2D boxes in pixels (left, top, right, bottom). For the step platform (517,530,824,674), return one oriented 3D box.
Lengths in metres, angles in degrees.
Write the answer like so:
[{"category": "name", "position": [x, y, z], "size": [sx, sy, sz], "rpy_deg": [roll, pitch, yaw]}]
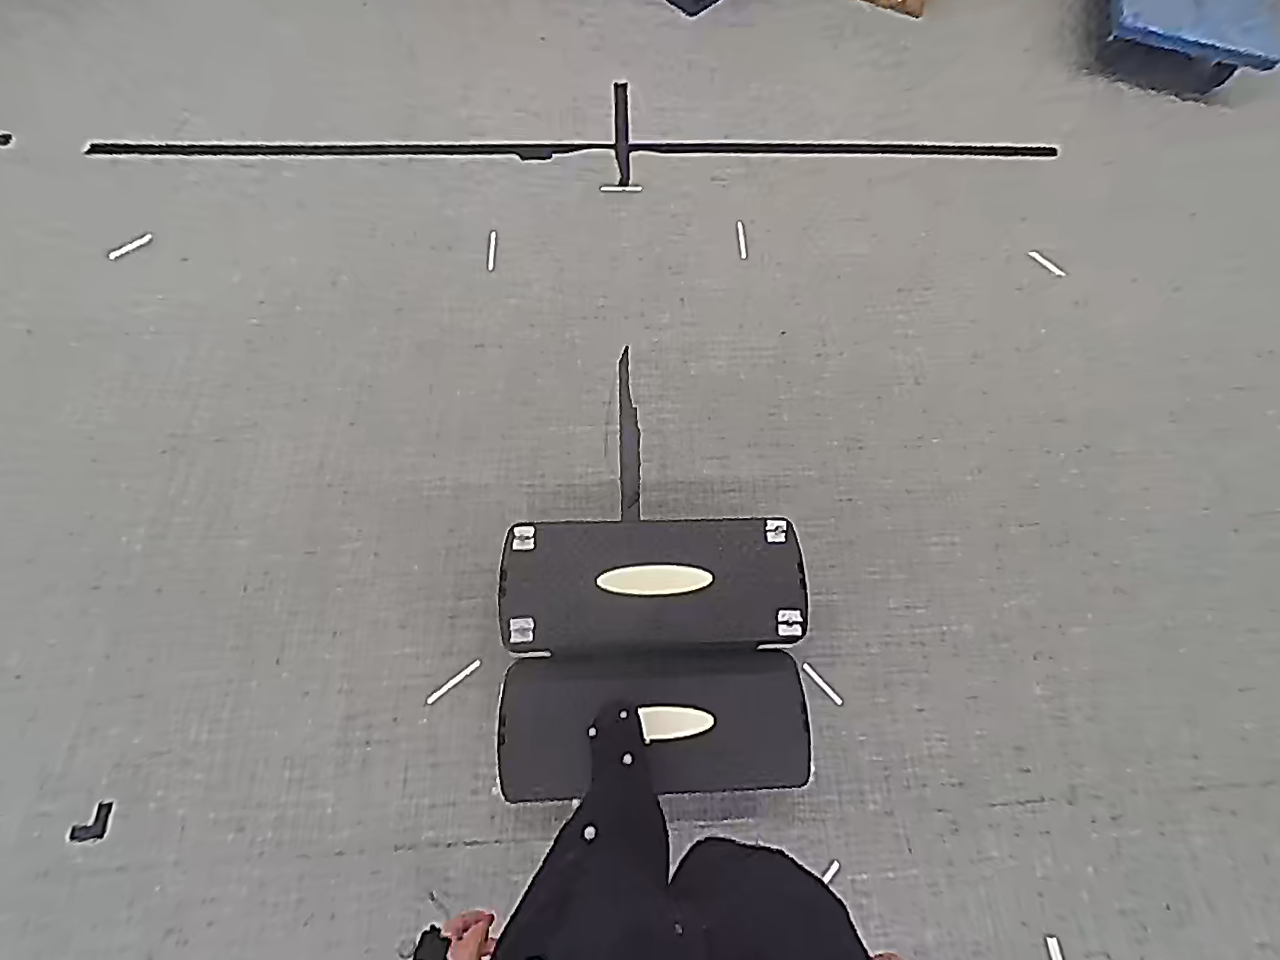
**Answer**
[{"category": "step platform", "position": [0.065, 0.282, 1.244], "size": [0.684, 0.204, 0.286], "rpy_deg": [3, 67, -2]}]
